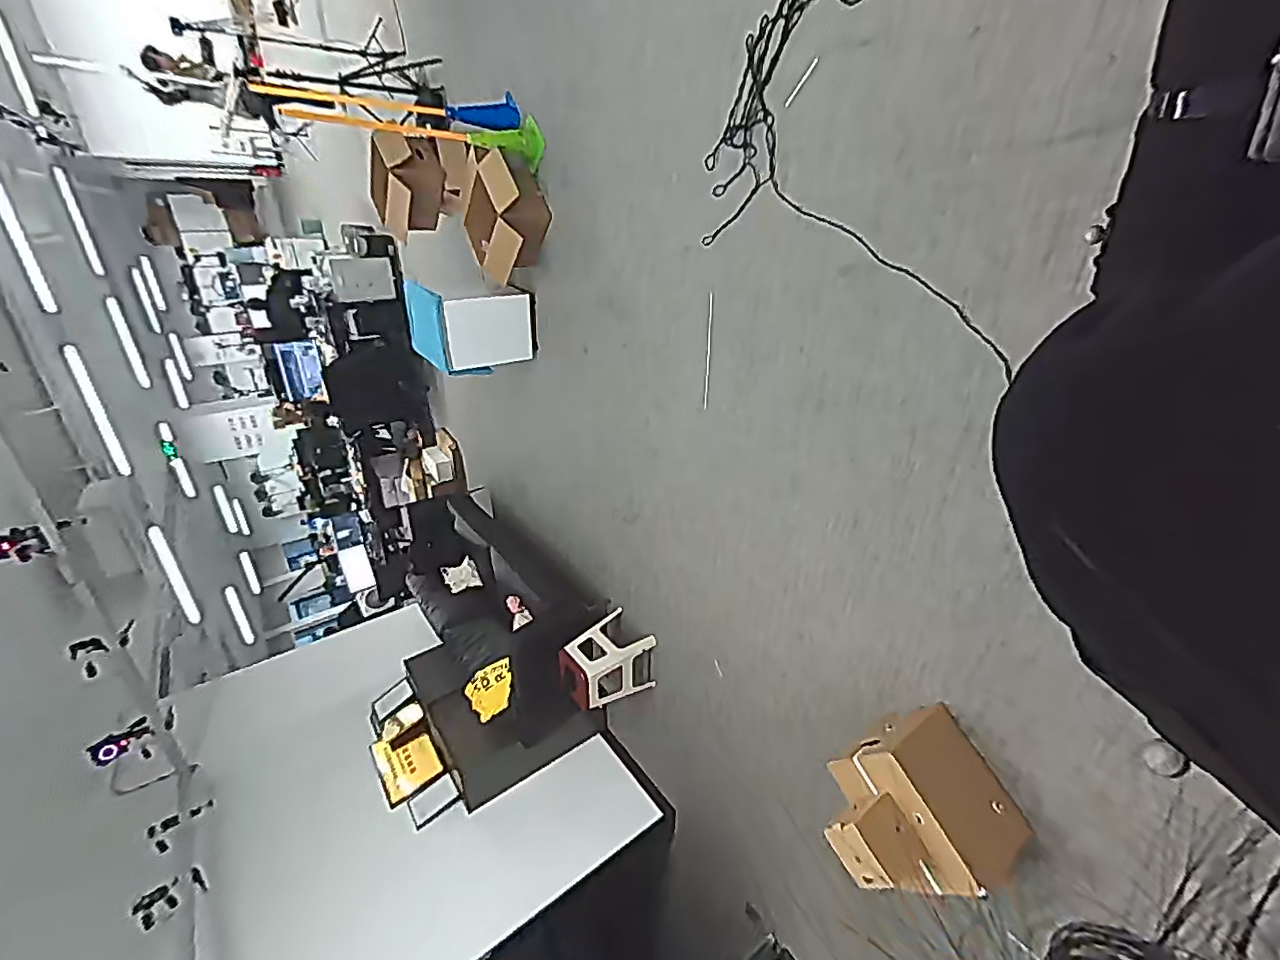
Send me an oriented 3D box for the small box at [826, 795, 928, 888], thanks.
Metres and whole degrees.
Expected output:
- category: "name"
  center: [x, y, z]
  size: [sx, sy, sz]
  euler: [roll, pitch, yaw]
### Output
- category: "small box"
  center: [0.700, 1.063, 1.600]
  size: [0.179, 0.176, 0.168]
  euler: [57, 146, 23]
